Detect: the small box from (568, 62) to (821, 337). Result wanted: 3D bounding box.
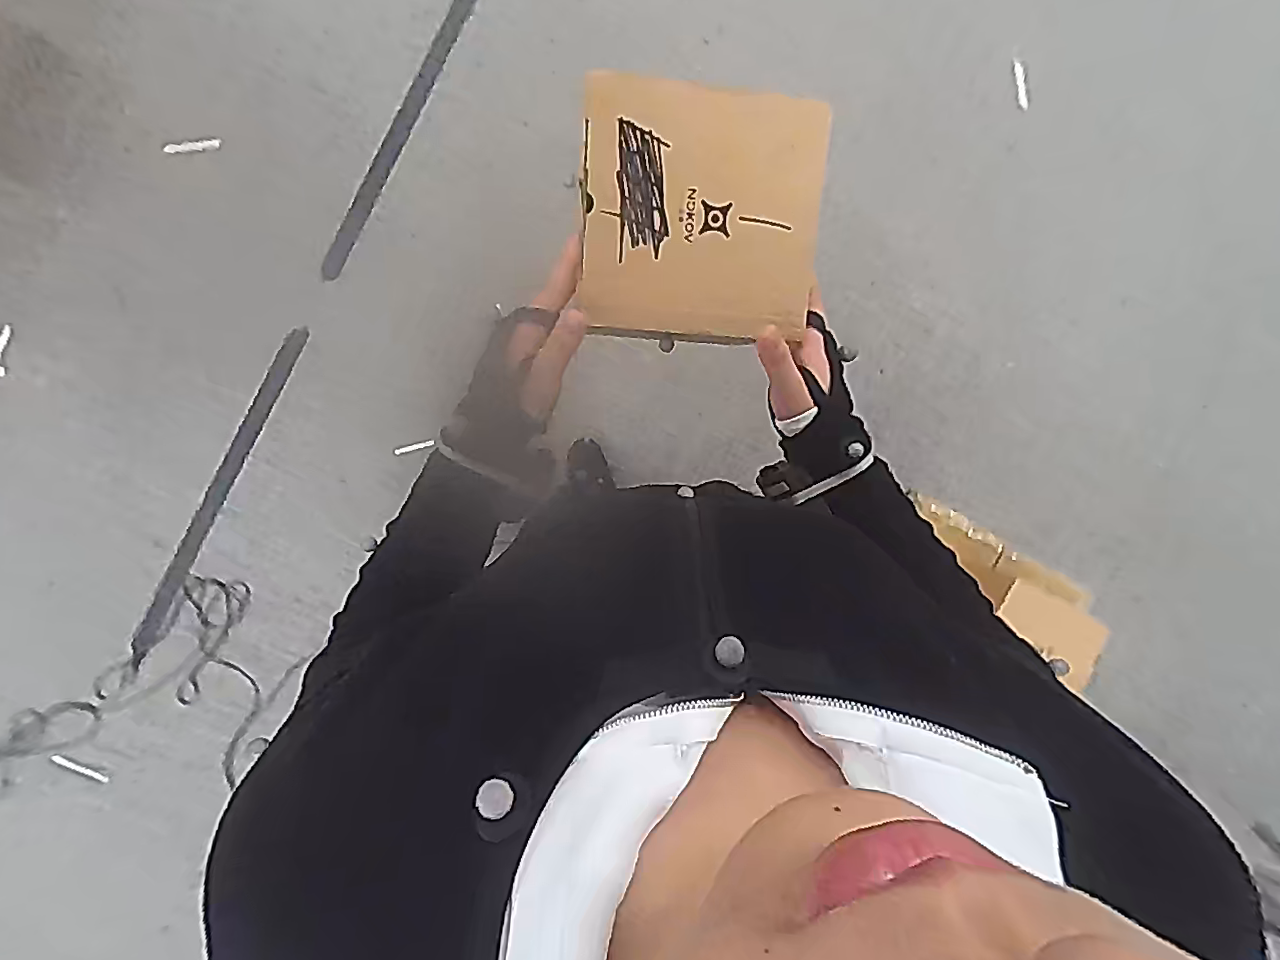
[{"bbox_3d":[0.028,-0.214,0.464,0.179,0.176,0.168,1,103,-9],"label":"small box"}]

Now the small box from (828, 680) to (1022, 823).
[{"bbox_3d":[0.436,0.446,0.855,0.179,0.176,0.168,28,89,-6],"label":"small box"}]

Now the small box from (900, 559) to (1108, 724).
[{"bbox_3d":[0.559,0.241,0.854,0.179,0.176,0.168,27,91,-5],"label":"small box"}]

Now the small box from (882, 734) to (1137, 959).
[{"bbox_3d":[0.452,0.460,0.692,0.179,0.176,0.168,29,89,-5],"label":"small box"}]
